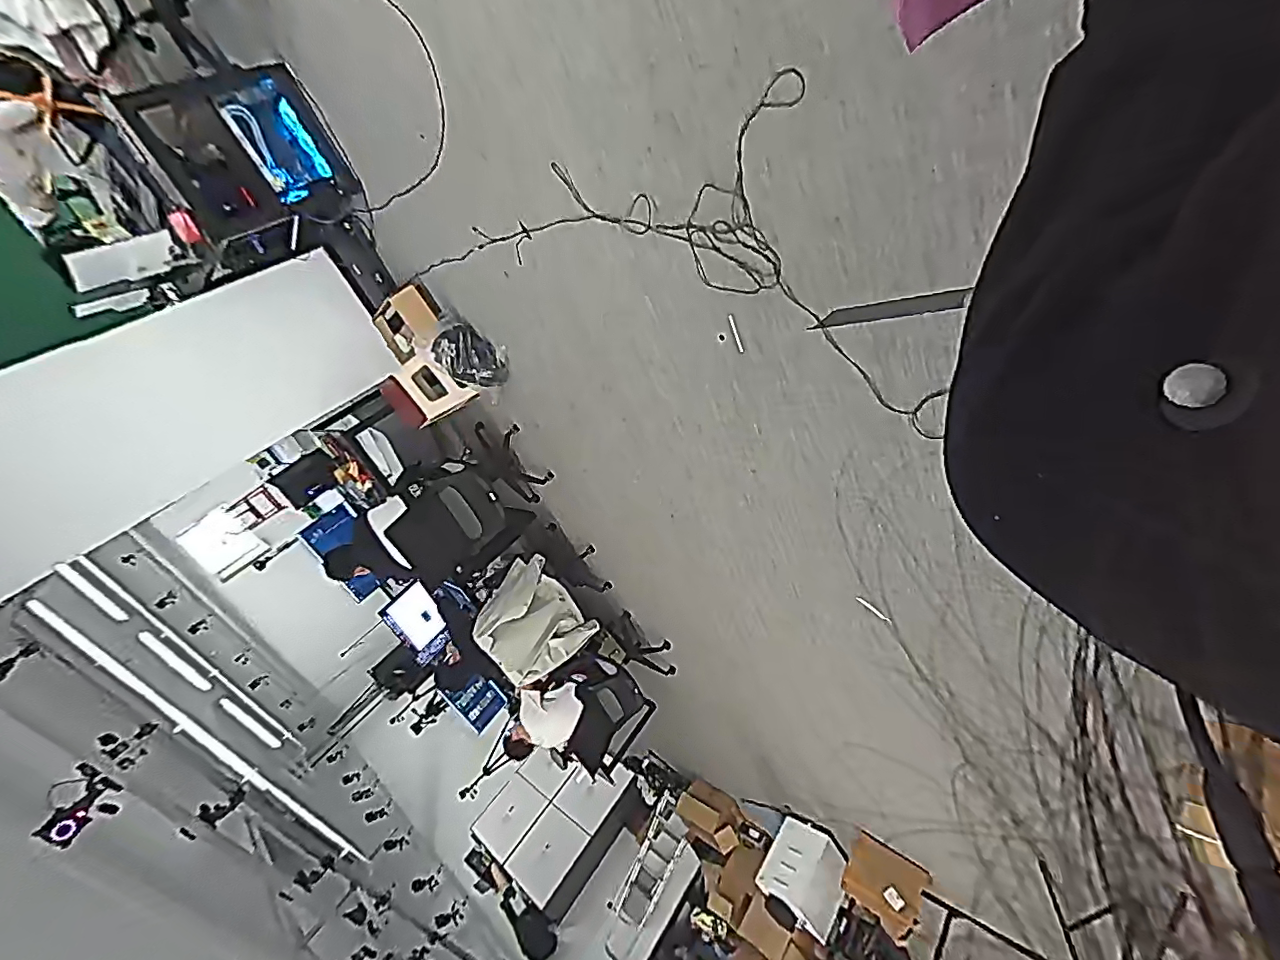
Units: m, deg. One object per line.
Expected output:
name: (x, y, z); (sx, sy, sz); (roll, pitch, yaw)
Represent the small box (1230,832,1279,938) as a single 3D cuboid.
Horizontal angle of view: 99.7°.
small box: (1.662, 1.062, 1.395); (0.179, 0.176, 0.168); (6, 130, 47)
